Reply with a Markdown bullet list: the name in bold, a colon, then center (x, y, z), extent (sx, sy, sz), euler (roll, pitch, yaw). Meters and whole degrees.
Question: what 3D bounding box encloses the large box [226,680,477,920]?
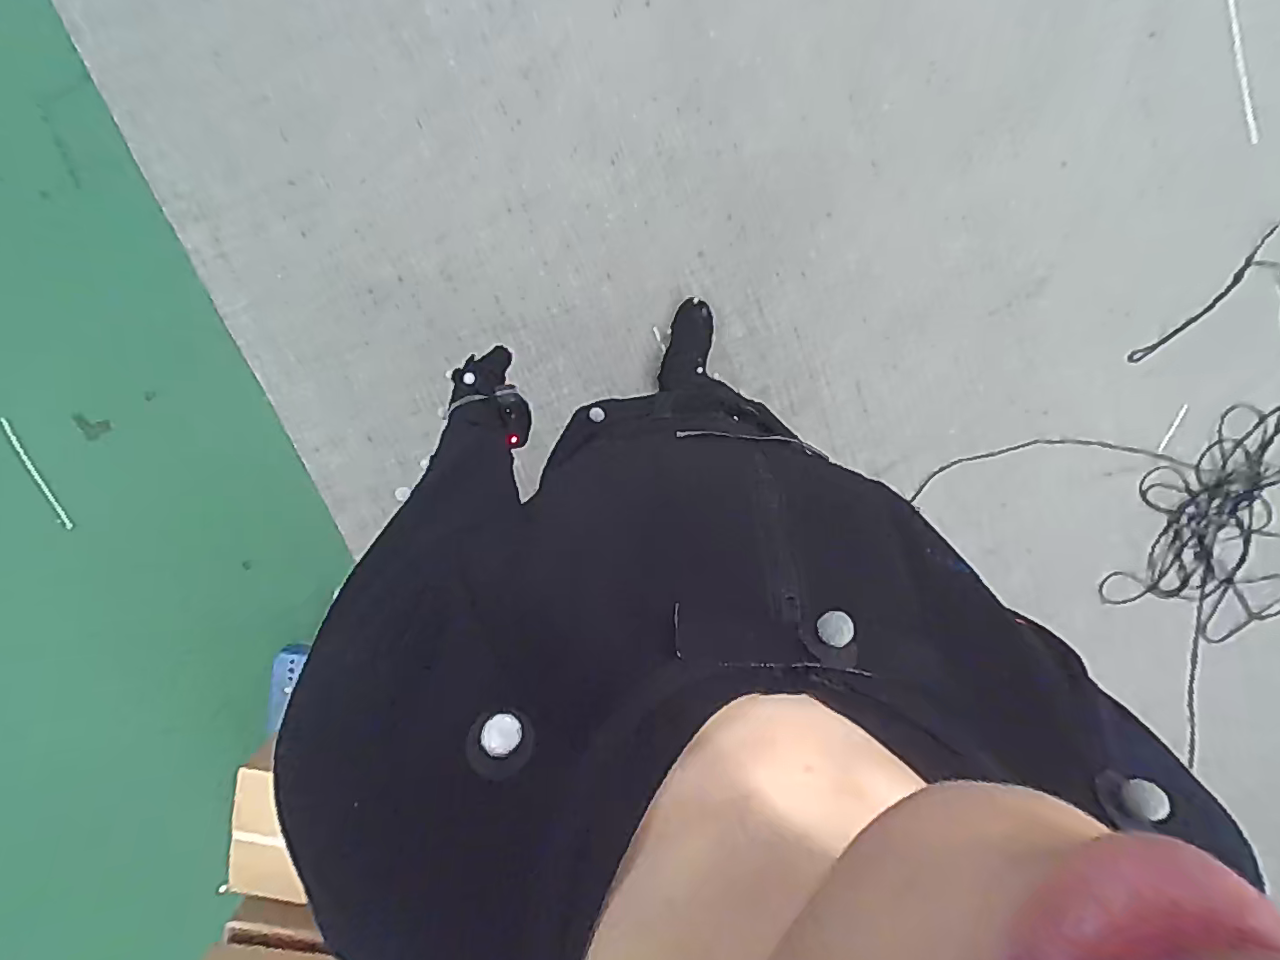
- **large box**: center (-0.634, 0.715, 1.247), extent (0.408, 0.320, 0.320), euler (14, 102, -4)
